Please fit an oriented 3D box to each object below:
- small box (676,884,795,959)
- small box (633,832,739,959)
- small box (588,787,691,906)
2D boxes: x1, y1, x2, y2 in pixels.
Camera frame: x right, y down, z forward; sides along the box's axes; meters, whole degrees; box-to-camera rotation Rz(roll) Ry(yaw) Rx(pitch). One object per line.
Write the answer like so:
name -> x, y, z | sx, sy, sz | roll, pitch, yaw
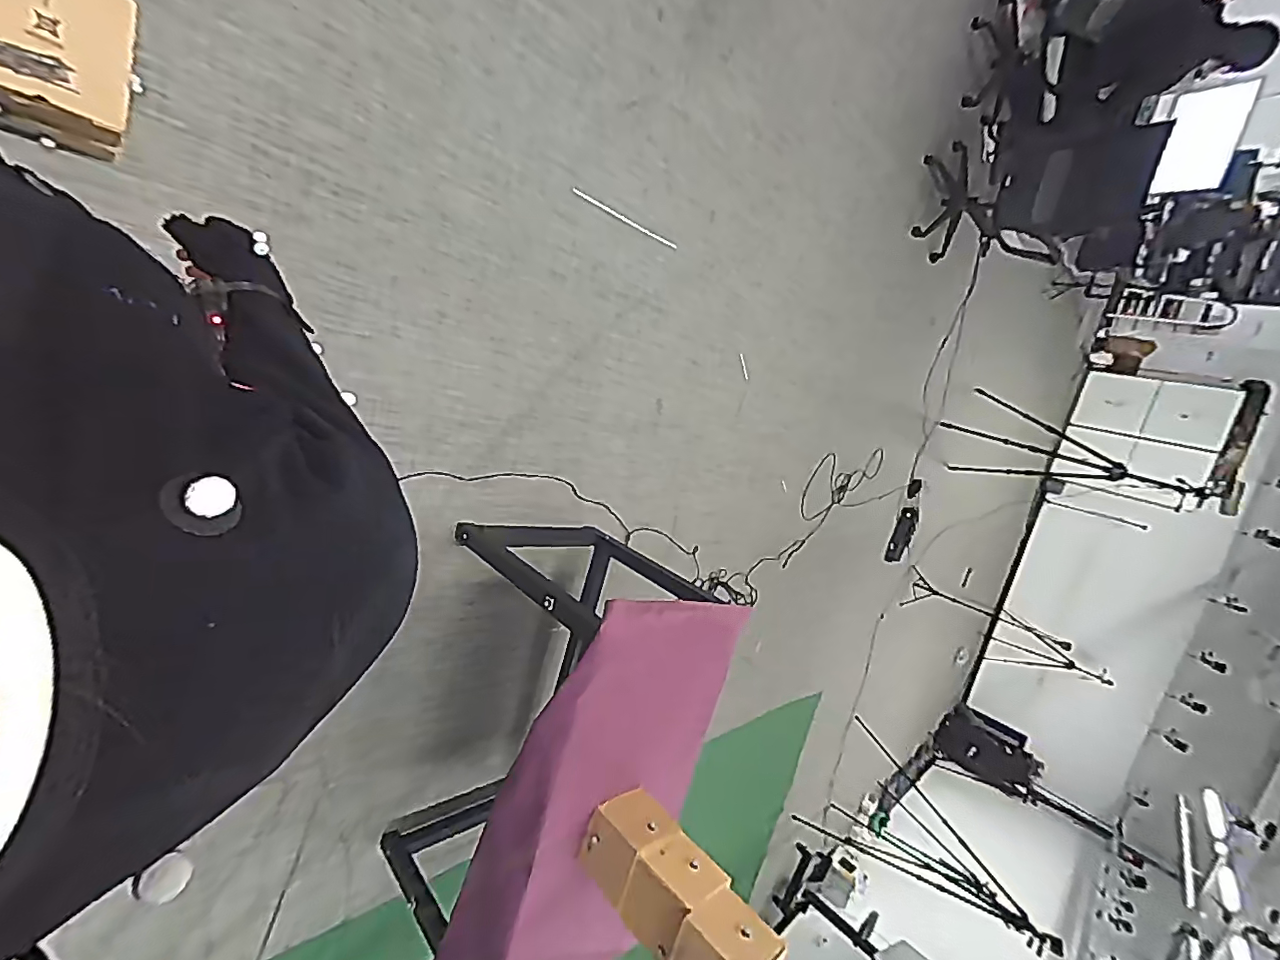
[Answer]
small box -> 0.203, 1.034, 1.172 | 0.179, 0.176, 0.168 | 14, 96, -49
small box -> 0.106, 0.990, 1.299 | 0.168, 0.176, 0.179 | 10, 99, -47
small box -> -0.003, 0.937, 1.406 | 0.179, 0.176, 0.168 | 13, 97, -47
